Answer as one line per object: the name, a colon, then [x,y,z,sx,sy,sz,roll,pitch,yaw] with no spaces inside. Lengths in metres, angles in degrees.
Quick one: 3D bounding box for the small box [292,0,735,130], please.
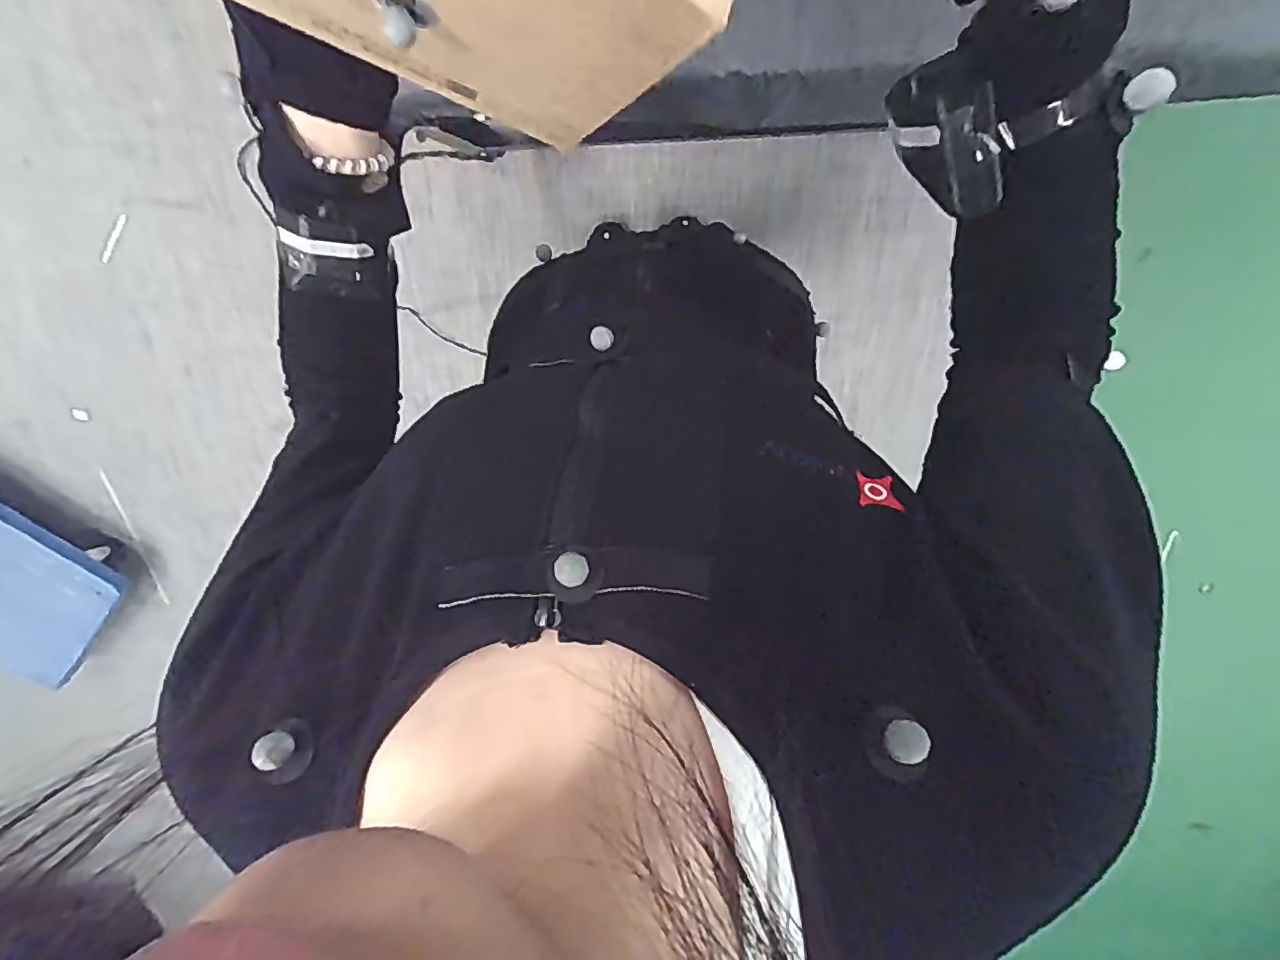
small box: [-0.052,-0.255,0.180,0.168,0.176,0.179,9,104,-27]
